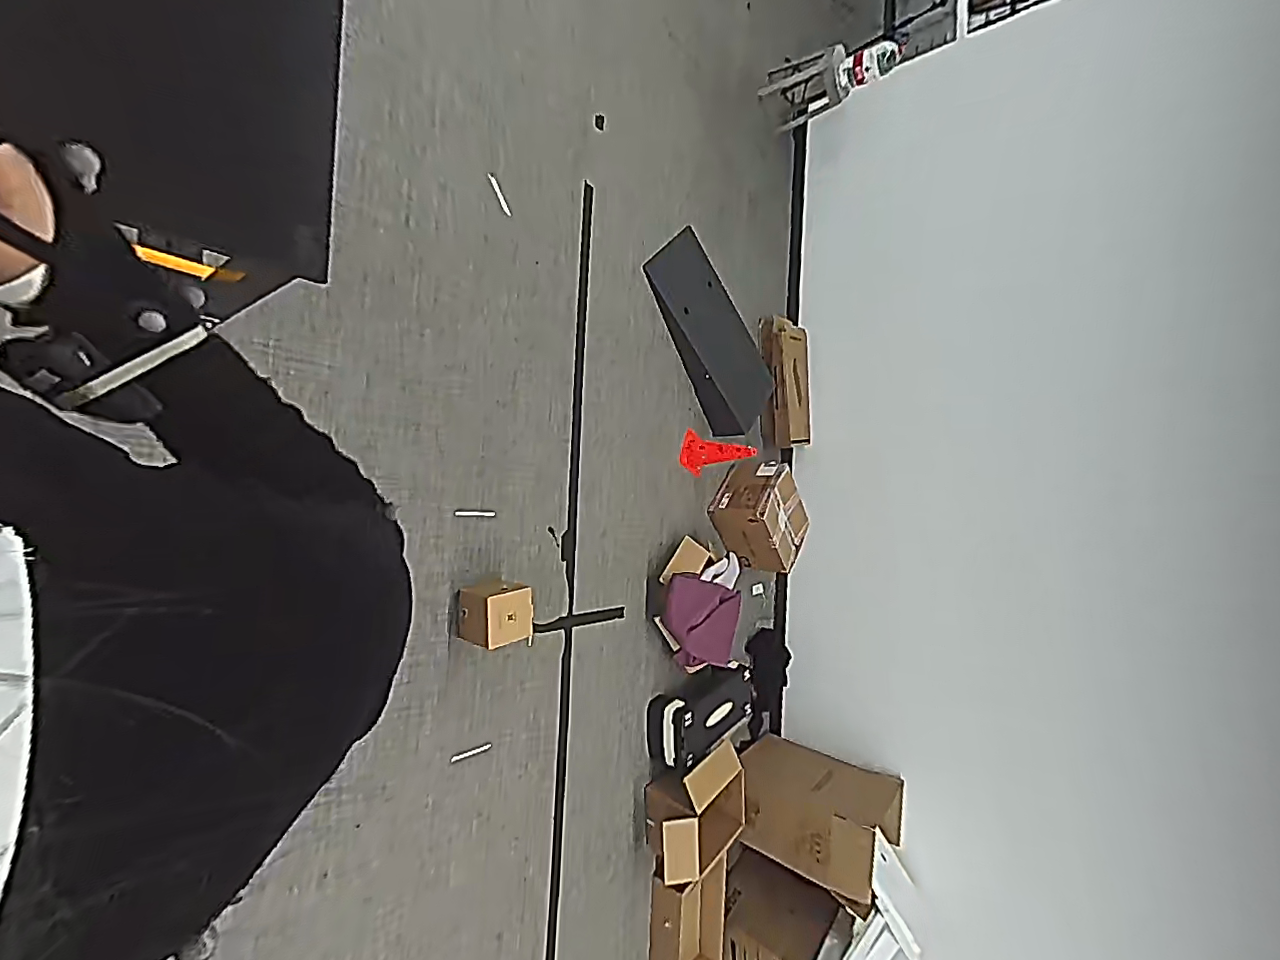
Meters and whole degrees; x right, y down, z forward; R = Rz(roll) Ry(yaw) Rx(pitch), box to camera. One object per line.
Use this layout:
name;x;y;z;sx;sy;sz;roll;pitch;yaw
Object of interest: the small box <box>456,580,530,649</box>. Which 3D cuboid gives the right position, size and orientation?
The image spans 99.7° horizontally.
small box;-0.479;0.431;1.763;0.179;0.176;0.168;-4;94;-50
